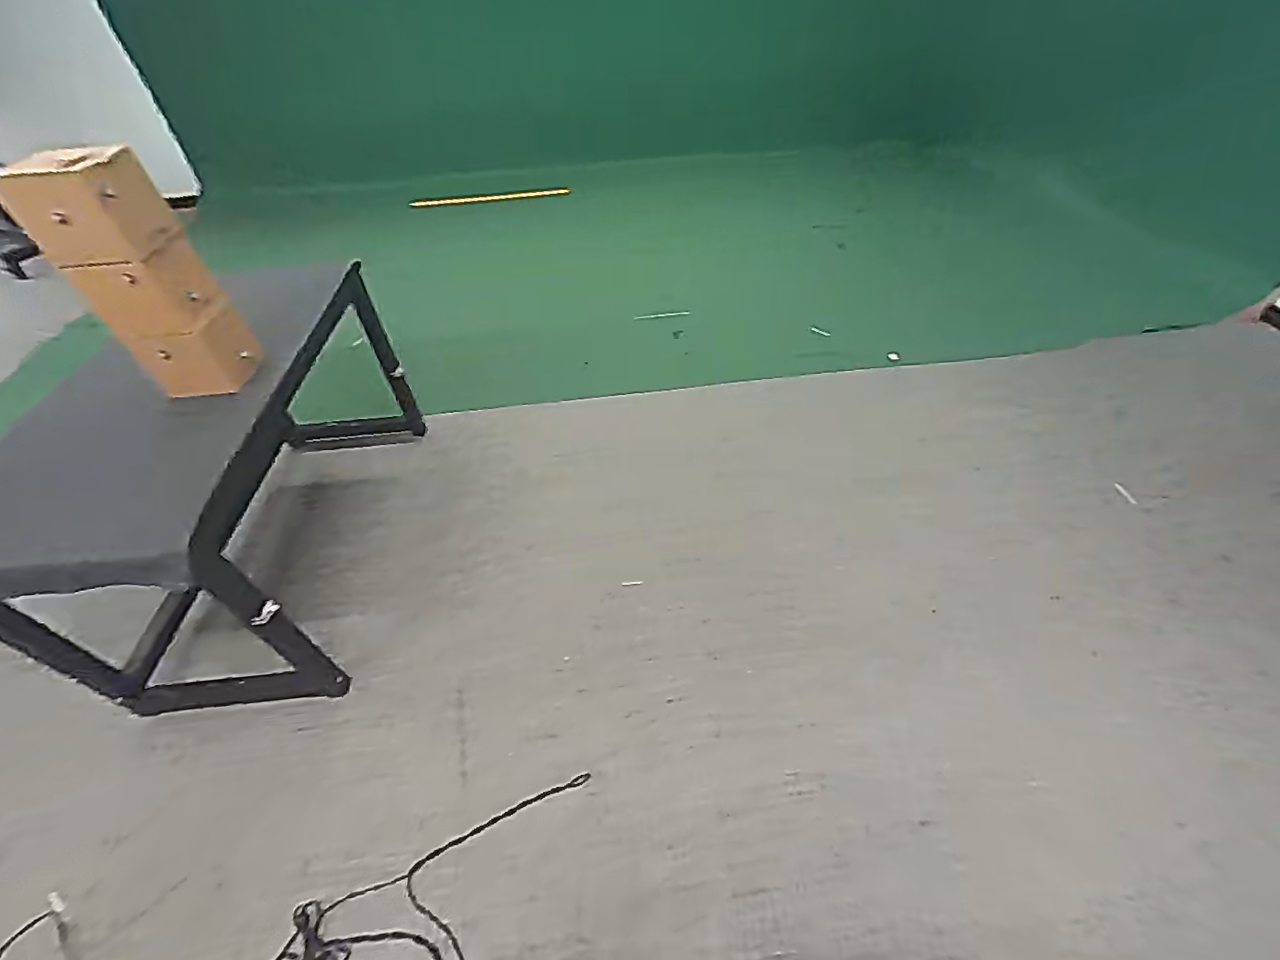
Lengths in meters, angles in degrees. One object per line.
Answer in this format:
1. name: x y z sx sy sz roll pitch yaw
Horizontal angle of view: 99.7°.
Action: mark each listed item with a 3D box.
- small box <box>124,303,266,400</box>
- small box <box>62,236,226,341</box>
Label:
1. small box: -1.076 -0.311 1.327 0.179 0.176 0.168 -5 46 -1
2. small box: -1.095 -0.425 1.213 0.179 0.176 0.168 -5 45 0
